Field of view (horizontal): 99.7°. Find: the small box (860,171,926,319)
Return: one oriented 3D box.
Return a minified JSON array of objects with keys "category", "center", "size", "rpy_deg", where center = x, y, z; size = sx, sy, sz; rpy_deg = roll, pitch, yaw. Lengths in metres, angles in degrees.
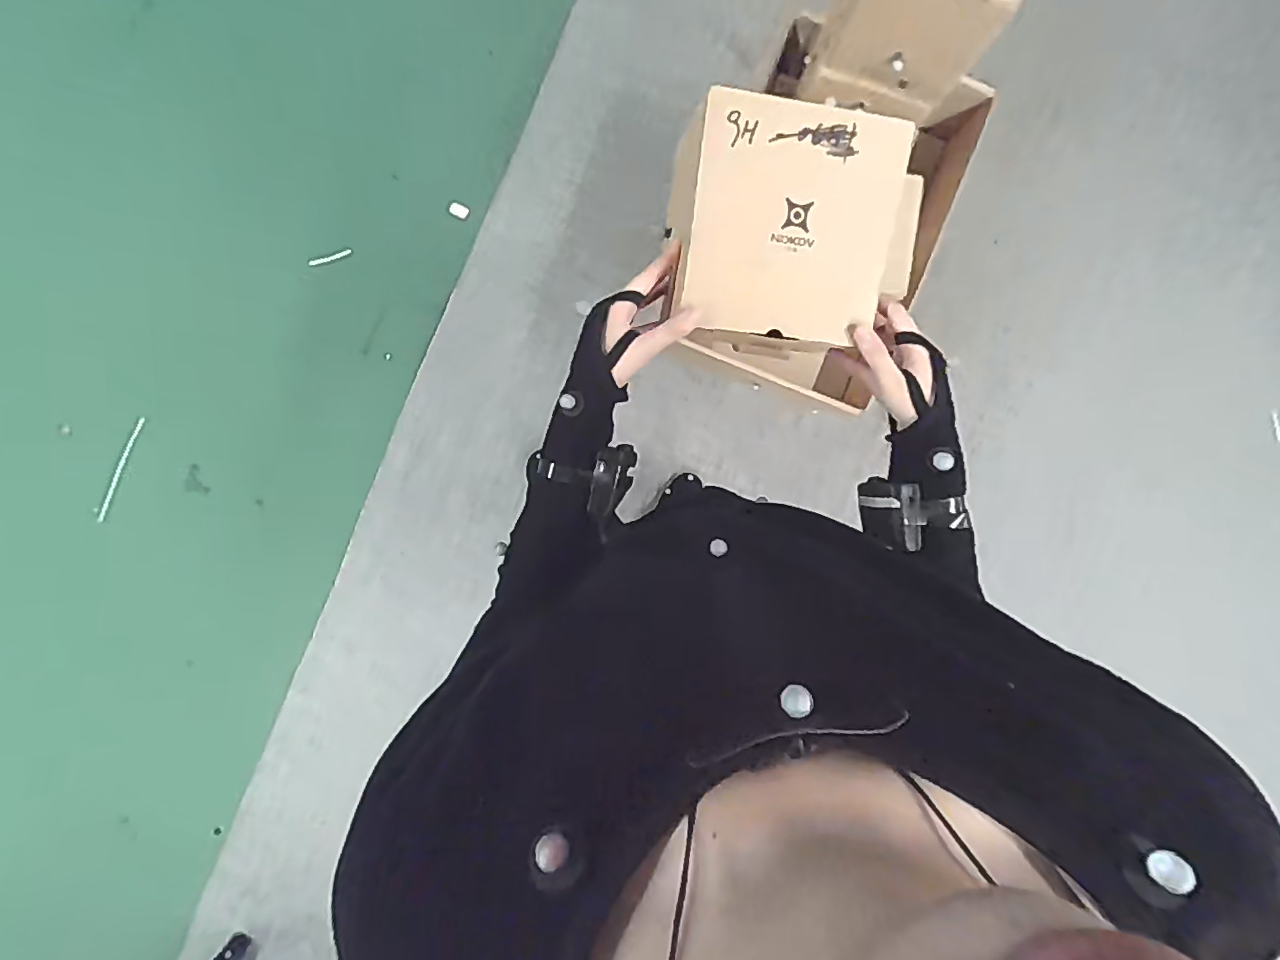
[{"category":"small box","center":[0.311,-0.361,0.847],"size":[0.168,0.176,0.179],"rpy_deg":[9,91,-2]}]

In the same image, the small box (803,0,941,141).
[{"category":"small box","center":[0.362,-0.628,0.836],"size":[0.179,0.176,0.168],"rpy_deg":[17,92,0]}]

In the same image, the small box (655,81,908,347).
[{"category":"small box","center":[0.110,-0.231,0.509],"size":[0.168,0.176,0.179],"rpy_deg":[5,108,-7]}]

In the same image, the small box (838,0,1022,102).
[{"category":"small box","center":[0.371,-0.629,0.671],"size":[0.168,0.176,0.179],"rpy_deg":[20,93,0]}]
